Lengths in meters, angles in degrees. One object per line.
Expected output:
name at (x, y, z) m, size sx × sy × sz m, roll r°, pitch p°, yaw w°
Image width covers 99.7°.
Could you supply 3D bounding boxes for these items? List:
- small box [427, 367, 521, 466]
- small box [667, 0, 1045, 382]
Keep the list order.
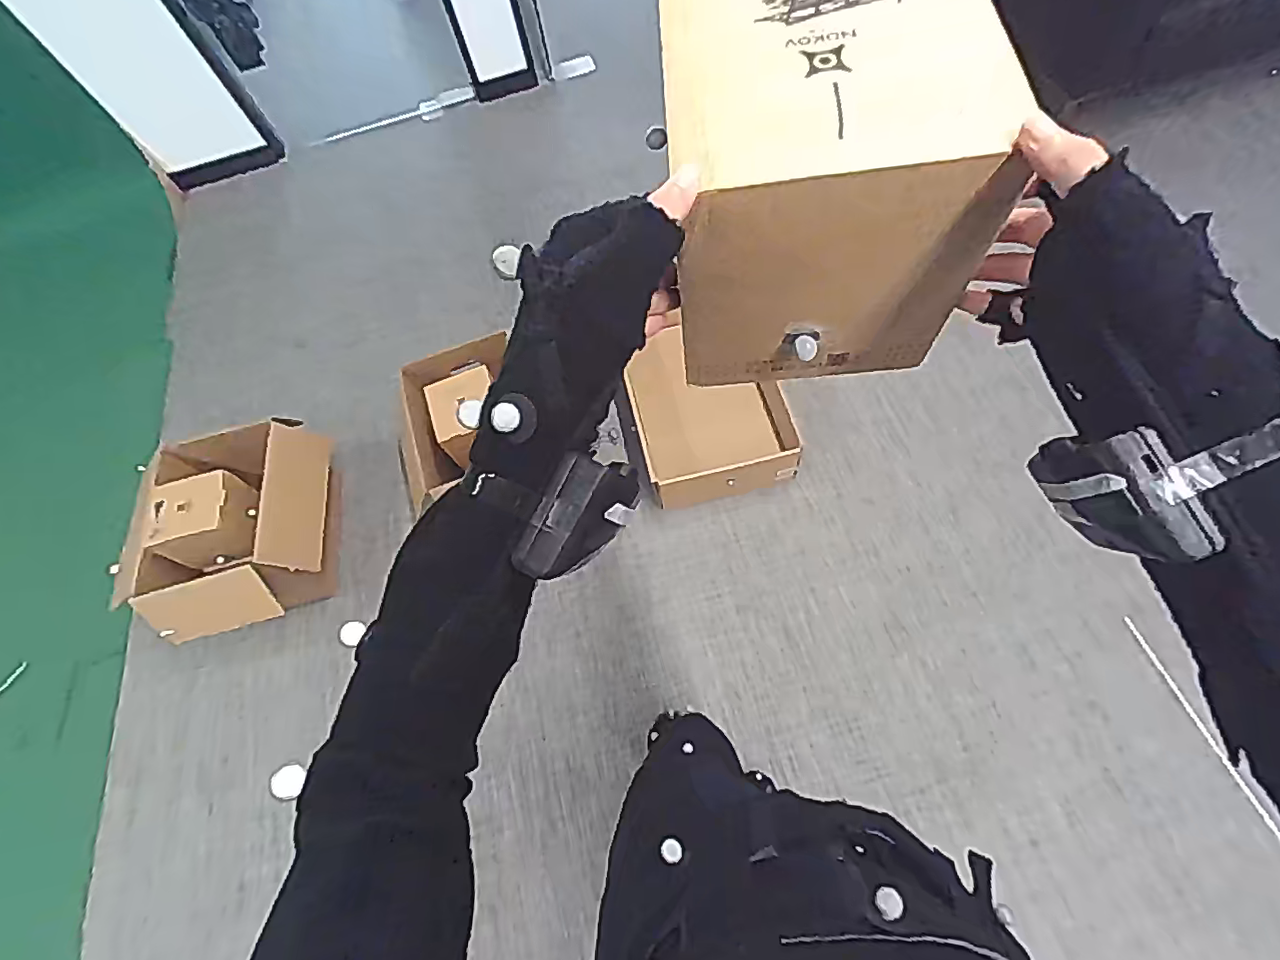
small box at (-0.424, -0.156, 1.402) m, size 0.168 × 0.176 × 0.179 m, roll -21°, pitch 65°, yaw -4°
small box at (0.105, -0.186, 0.349) m, size 0.168 × 0.176 × 0.179 m, roll -4°, pitch 67°, yaw 7°
